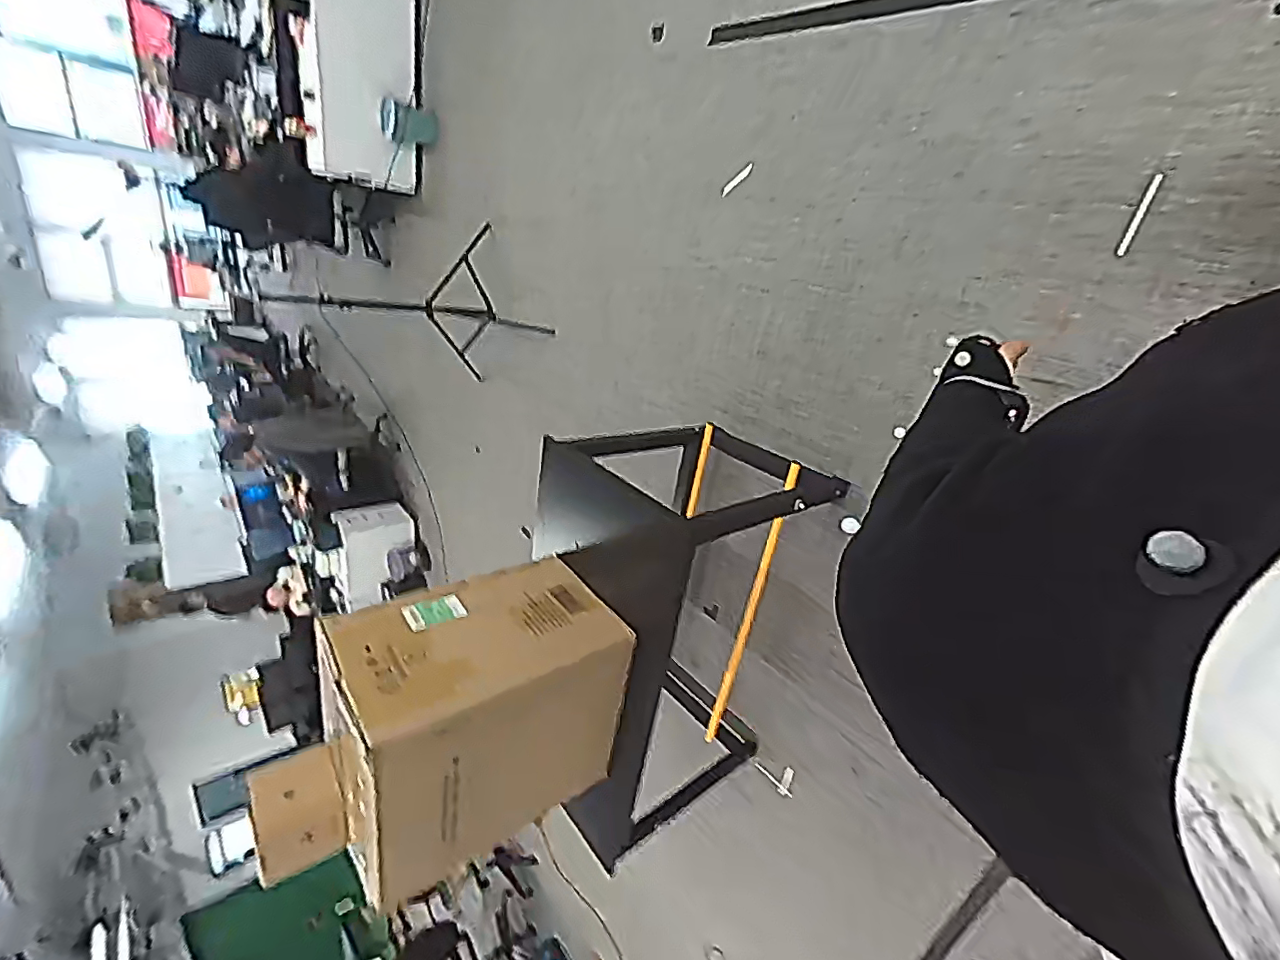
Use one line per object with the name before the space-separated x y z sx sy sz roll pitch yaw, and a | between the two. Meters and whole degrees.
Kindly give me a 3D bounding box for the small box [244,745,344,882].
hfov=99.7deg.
small box | -0.793 0.758 1.251 0.179 0.176 0.168 29 119 44
